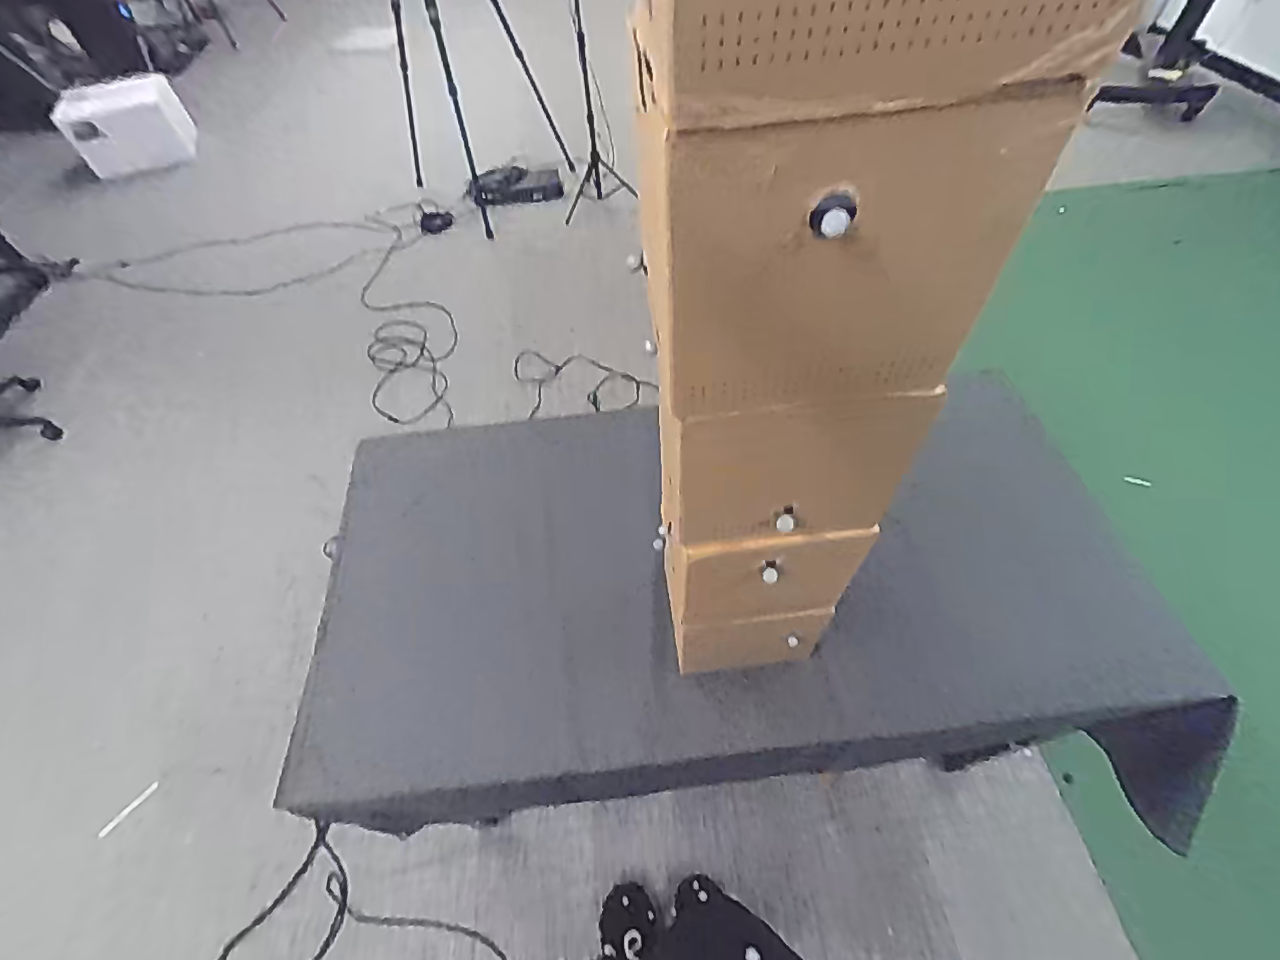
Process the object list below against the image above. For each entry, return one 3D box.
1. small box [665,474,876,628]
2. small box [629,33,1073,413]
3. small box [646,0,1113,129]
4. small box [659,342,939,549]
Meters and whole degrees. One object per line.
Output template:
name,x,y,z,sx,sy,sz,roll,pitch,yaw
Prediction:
small box,0.121,0.046,0.589,0.179,0.176,0.168,-8,53,-1
small box,0.093,-0.157,0.333,0.179,0.176,0.168,-7,53,-1
small box,0.086,-0.256,0.203,0.179,0.176,0.168,-5,54,1
small box,0.109,-0.056,0.462,0.179,0.176,0.168,-5,53,0
